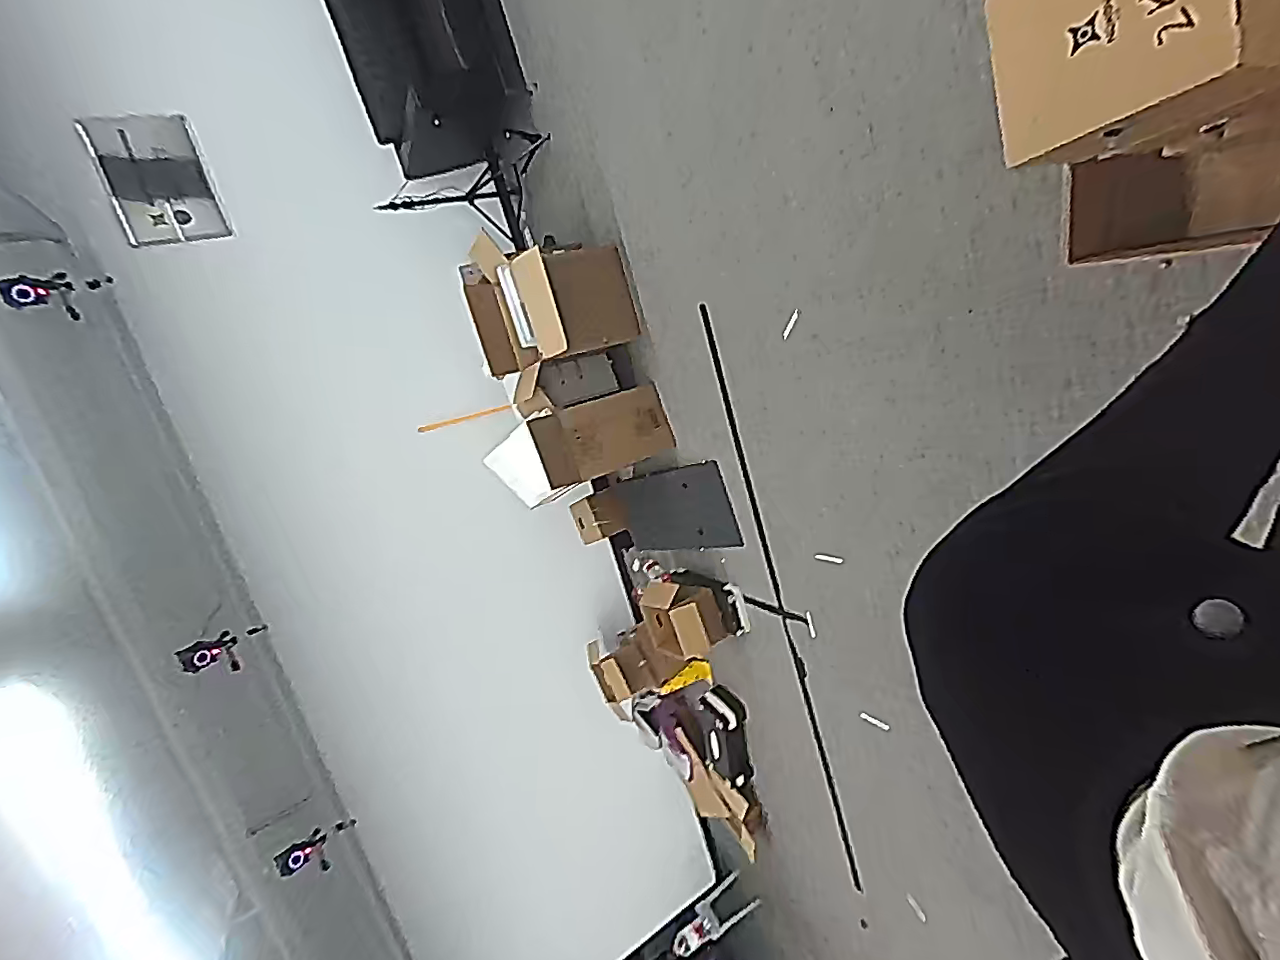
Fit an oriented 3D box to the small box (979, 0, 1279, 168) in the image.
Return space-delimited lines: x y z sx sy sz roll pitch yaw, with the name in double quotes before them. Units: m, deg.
"small box" 0.471 -0.427 0.521 0.179 0.176 0.168 5 113 62
